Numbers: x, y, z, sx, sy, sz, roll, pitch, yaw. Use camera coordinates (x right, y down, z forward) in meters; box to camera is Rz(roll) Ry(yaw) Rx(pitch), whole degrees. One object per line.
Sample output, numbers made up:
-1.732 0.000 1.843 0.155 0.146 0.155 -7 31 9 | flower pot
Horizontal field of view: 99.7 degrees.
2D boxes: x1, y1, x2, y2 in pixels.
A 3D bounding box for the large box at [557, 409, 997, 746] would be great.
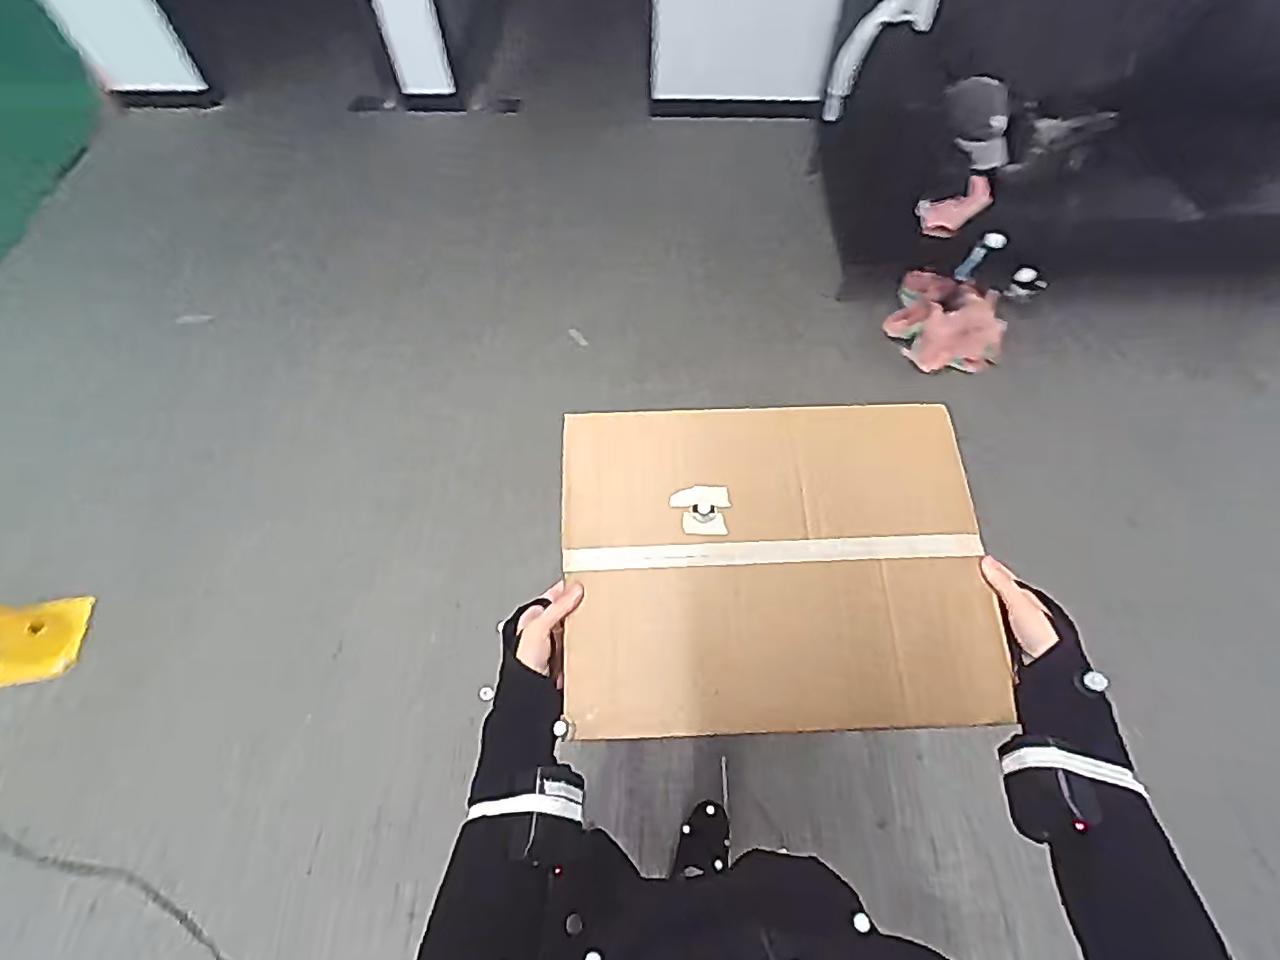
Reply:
0.122 0.129 0.675 0.408 0.320 0.320 -3 70 -1 | large box
